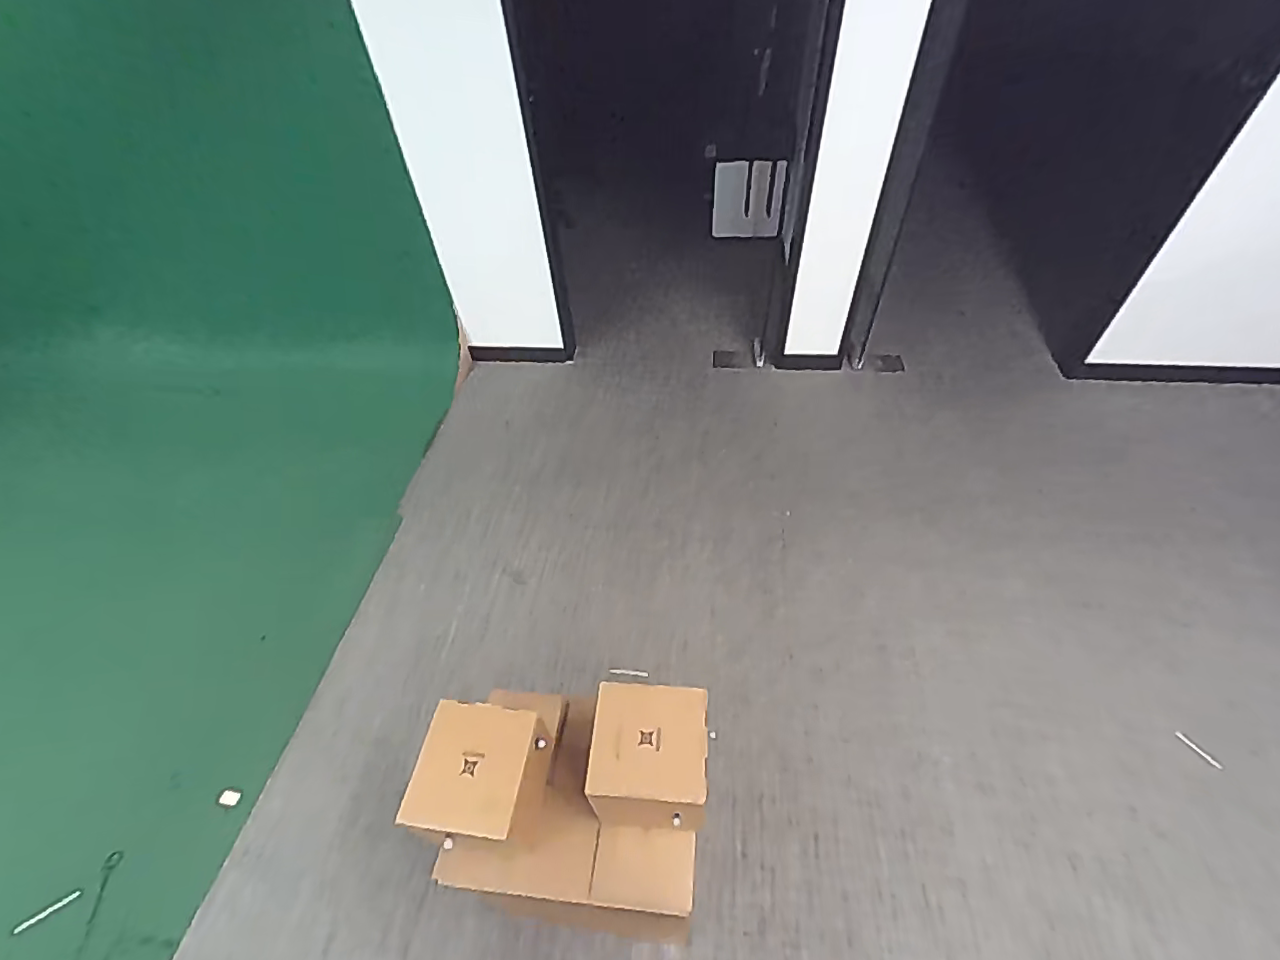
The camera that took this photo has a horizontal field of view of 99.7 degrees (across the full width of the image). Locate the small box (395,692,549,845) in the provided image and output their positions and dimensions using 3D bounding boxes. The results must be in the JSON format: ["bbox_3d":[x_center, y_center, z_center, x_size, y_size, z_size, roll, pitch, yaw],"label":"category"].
[{"bbox_3d":[-0.252,0.465,0.867,0.168,0.176,0.179,5,50,6],"label":"small box"}]

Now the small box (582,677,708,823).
[{"bbox_3d":[0.017,0.439,0.875,0.179,0.176,0.168,2,47,7],"label":"small box"}]
